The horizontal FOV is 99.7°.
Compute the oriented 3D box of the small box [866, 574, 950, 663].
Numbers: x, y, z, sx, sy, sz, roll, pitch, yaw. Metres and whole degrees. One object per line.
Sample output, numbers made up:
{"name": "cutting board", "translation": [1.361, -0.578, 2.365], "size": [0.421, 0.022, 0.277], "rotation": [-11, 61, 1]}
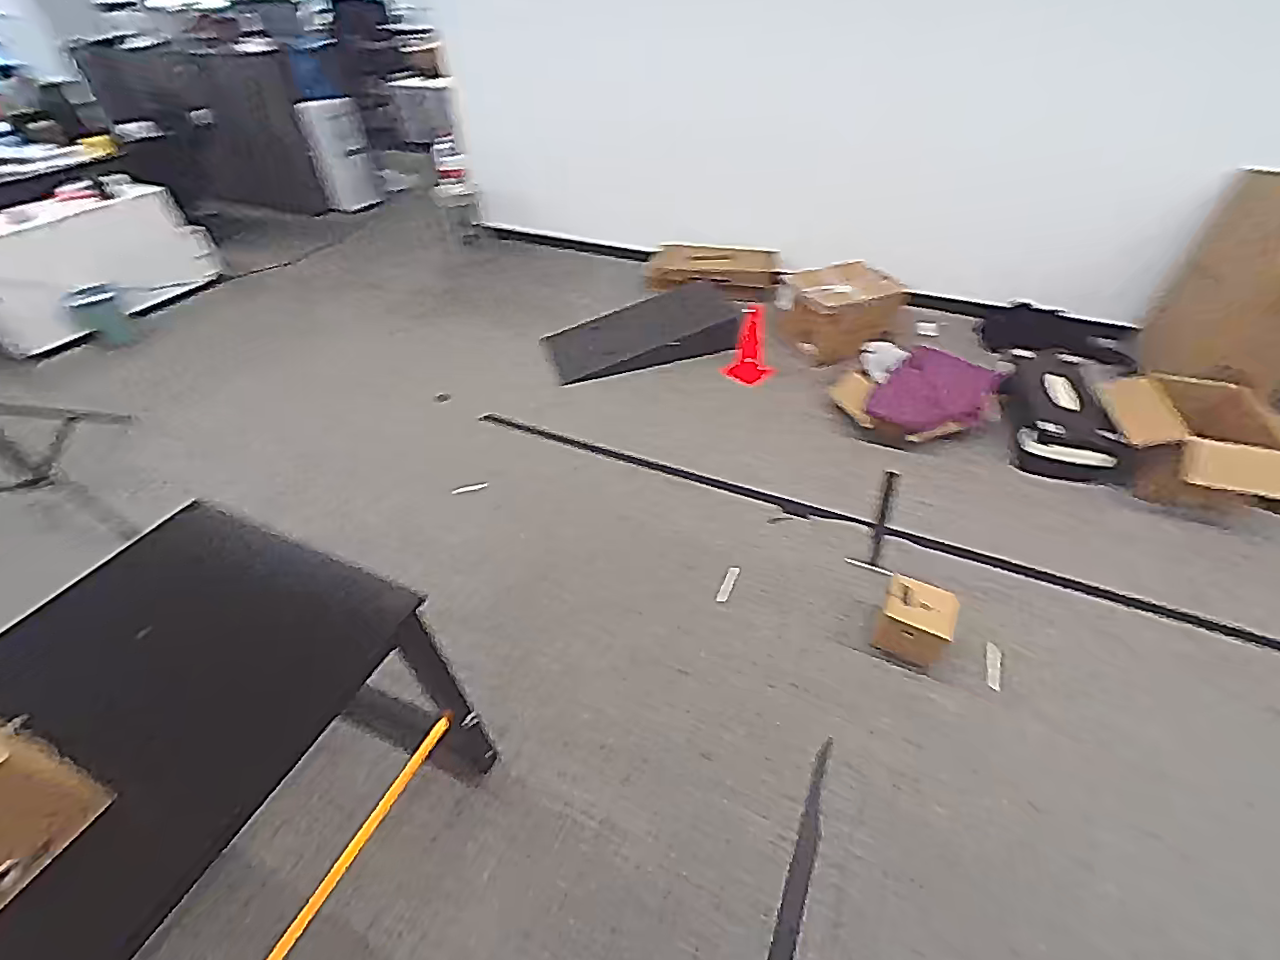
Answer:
{"name": "small box", "translation": [0.794, 0.417, 1.614], "size": [0.179, 0.176, 0.168], "rotation": [20, 48, 19]}

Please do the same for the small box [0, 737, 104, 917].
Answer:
{"name": "small box", "translation": [-0.802, 0.399, 0.622], "size": [0.179, 0.176, 0.168], "rotation": [16, 47, 17]}
